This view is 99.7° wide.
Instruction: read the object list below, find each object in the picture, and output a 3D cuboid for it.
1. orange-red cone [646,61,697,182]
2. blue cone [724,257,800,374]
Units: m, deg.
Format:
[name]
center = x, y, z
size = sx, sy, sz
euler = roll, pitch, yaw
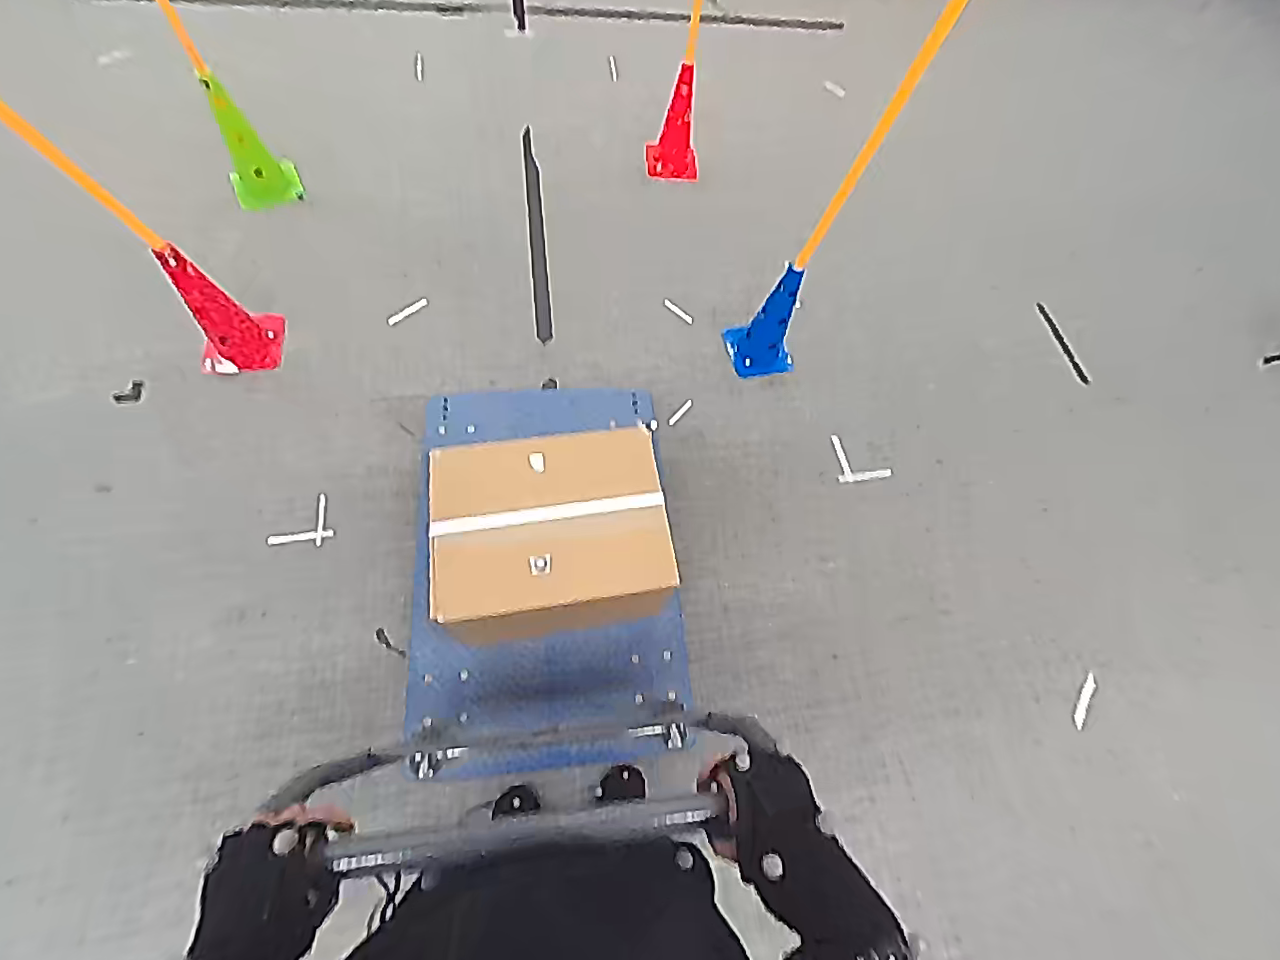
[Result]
[orange-red cone]
center = 0.143, -1.309, 1.954
size = 0.199, 0.360, 0.198
euler = 1, 66, -8
[blue cone]
center = 0.401, -0.500, 1.625
size = 0.193, 0.380, 0.192
euler = -9, 65, -11
